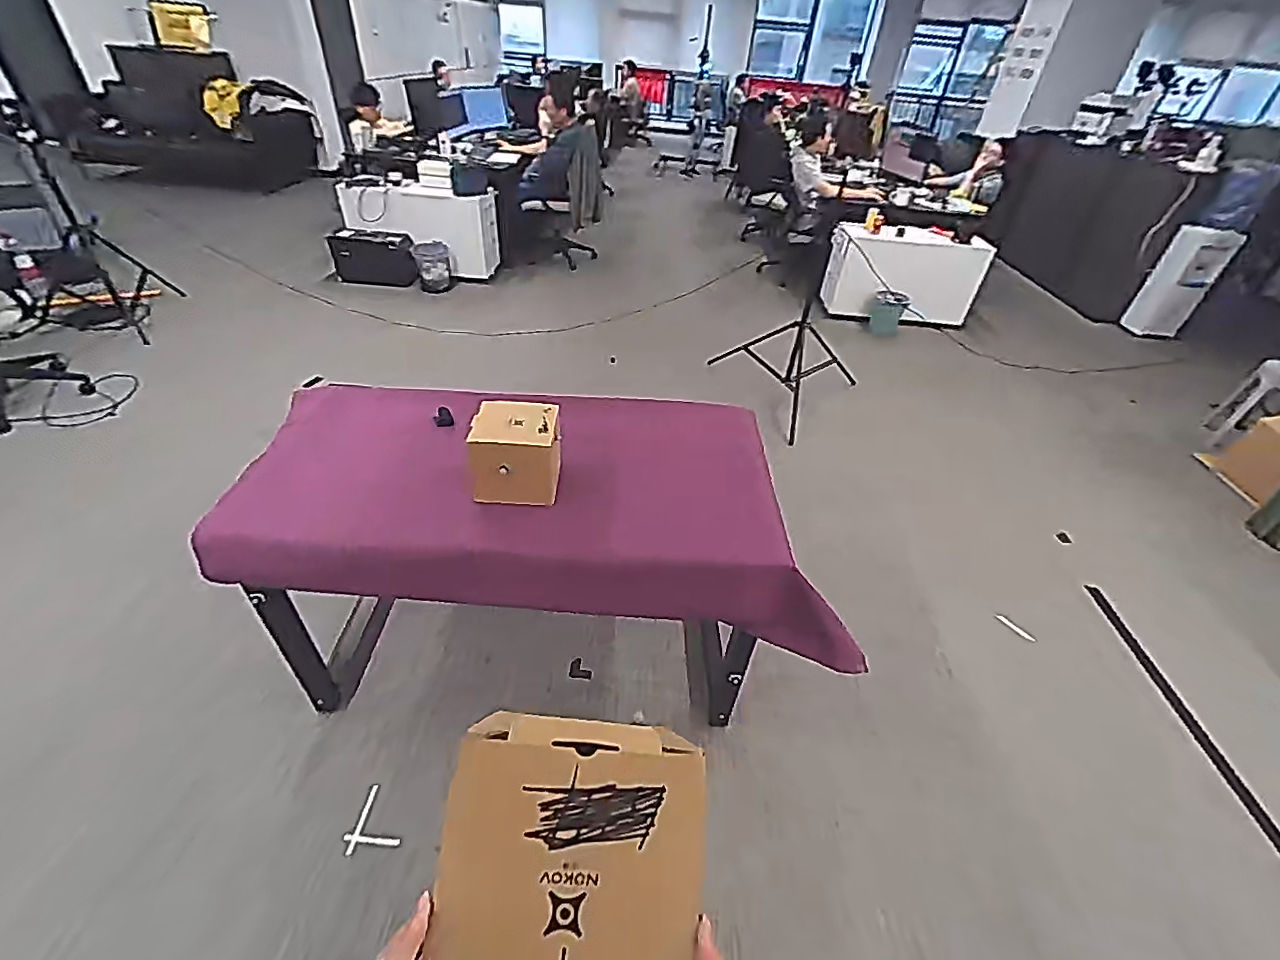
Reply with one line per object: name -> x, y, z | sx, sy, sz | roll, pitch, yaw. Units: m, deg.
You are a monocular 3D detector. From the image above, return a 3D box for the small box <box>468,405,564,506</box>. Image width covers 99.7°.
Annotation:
small box -> -0.271, -0.054, 1.222 | 0.179, 0.176, 0.168 | 2, 39, -2

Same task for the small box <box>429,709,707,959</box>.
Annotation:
small box -> -0.051, 0.277, 0.414 | 0.168, 0.176, 0.179 | 7, 70, -5
